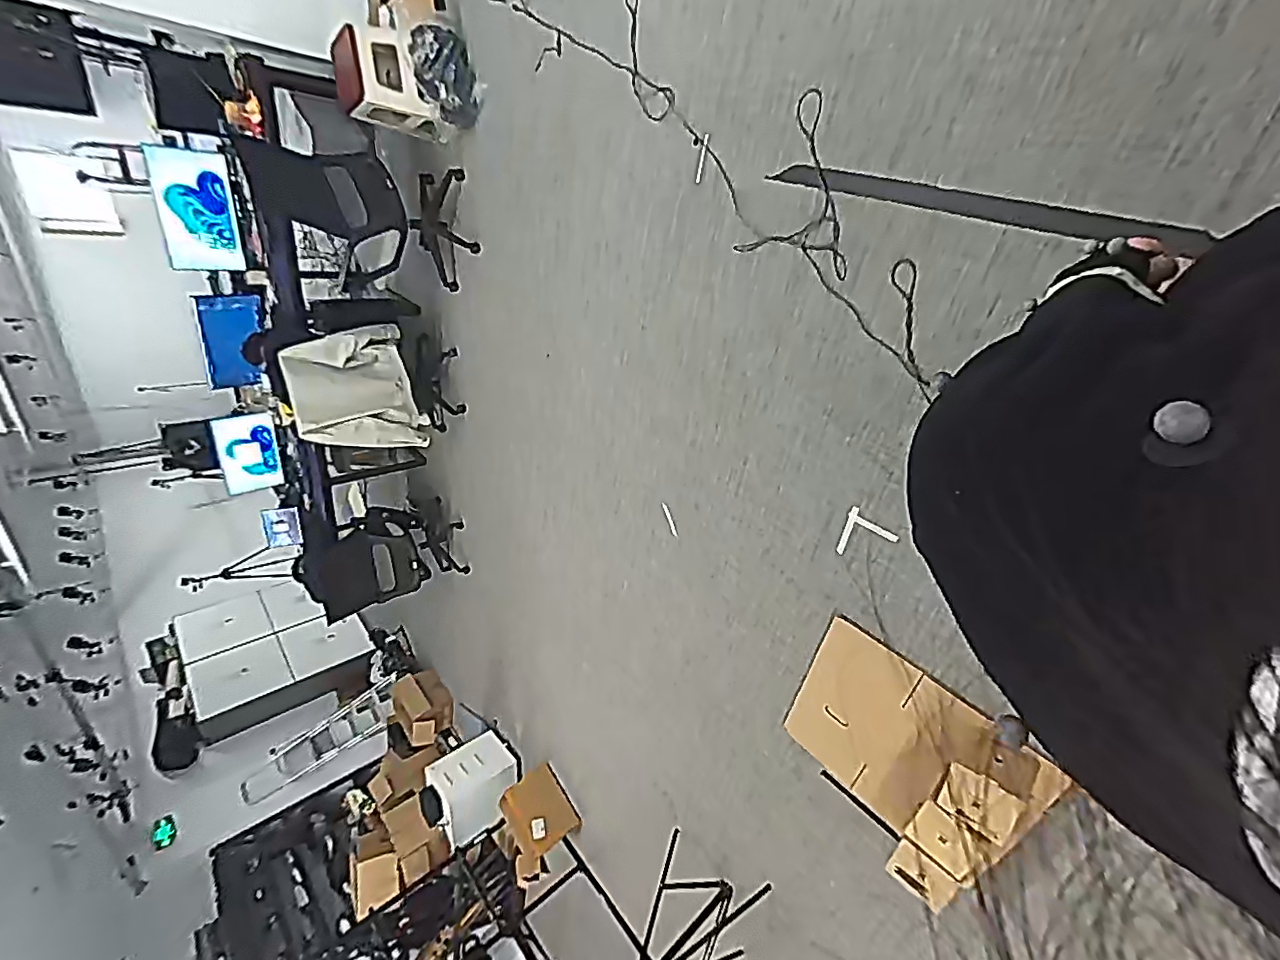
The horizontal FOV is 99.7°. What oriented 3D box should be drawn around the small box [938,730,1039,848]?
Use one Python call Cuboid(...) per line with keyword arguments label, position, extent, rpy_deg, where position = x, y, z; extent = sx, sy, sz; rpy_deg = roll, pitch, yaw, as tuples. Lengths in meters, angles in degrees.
Cuboid(label="small box", position=(0.932, 0.813, 1.442), extent=(0.168, 0.176, 0.179), rpy_deg=(25, 121, 40))
